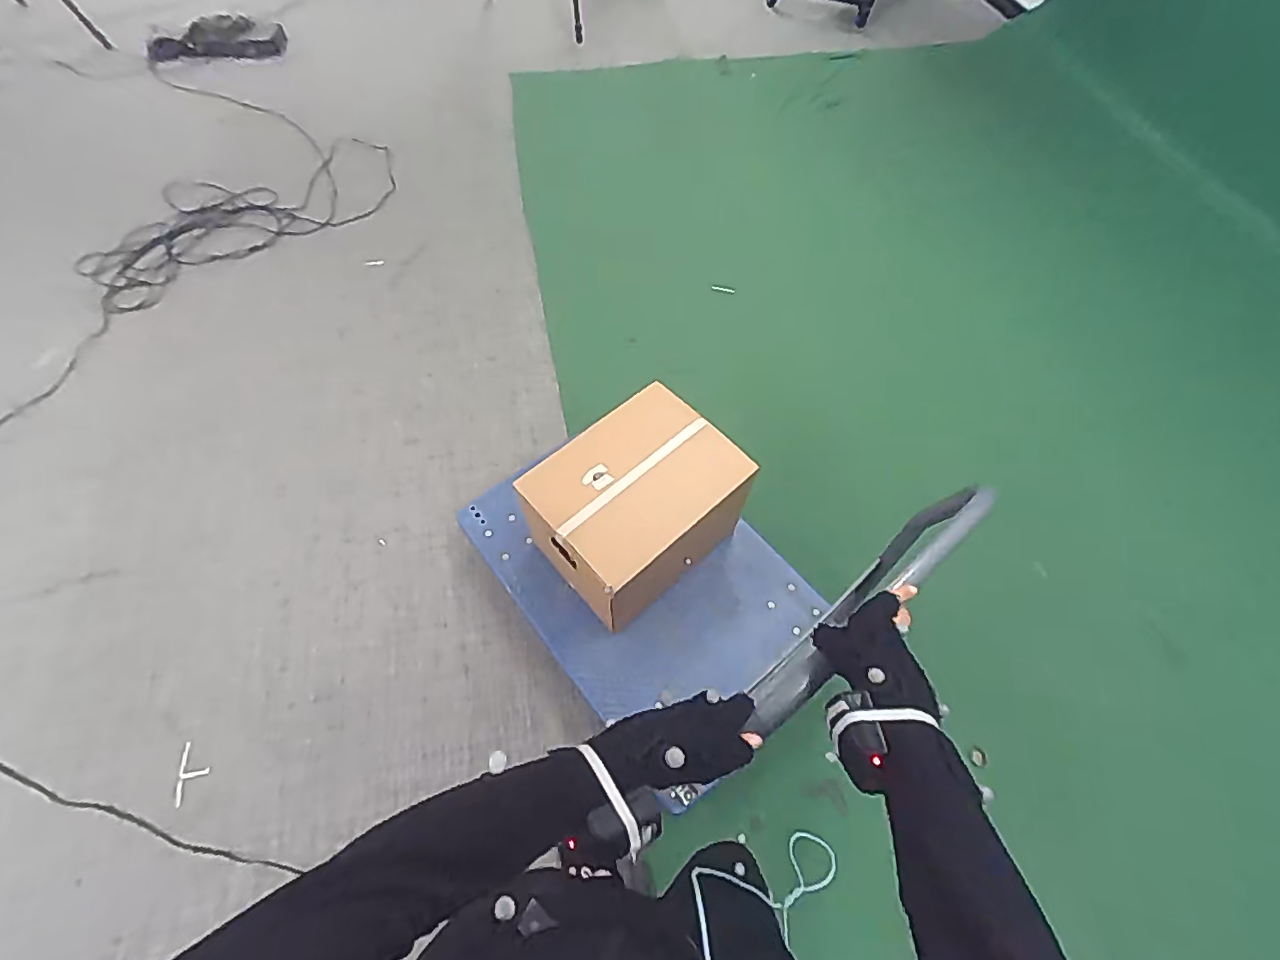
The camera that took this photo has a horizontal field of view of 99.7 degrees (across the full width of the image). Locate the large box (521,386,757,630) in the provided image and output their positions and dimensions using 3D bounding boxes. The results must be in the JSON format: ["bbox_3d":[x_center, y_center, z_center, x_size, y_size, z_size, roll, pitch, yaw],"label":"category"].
[{"bbox_3d":[0.000,0.069,1.240,0.408,0.320,0.320,-39,68,-20],"label":"large box"}]
